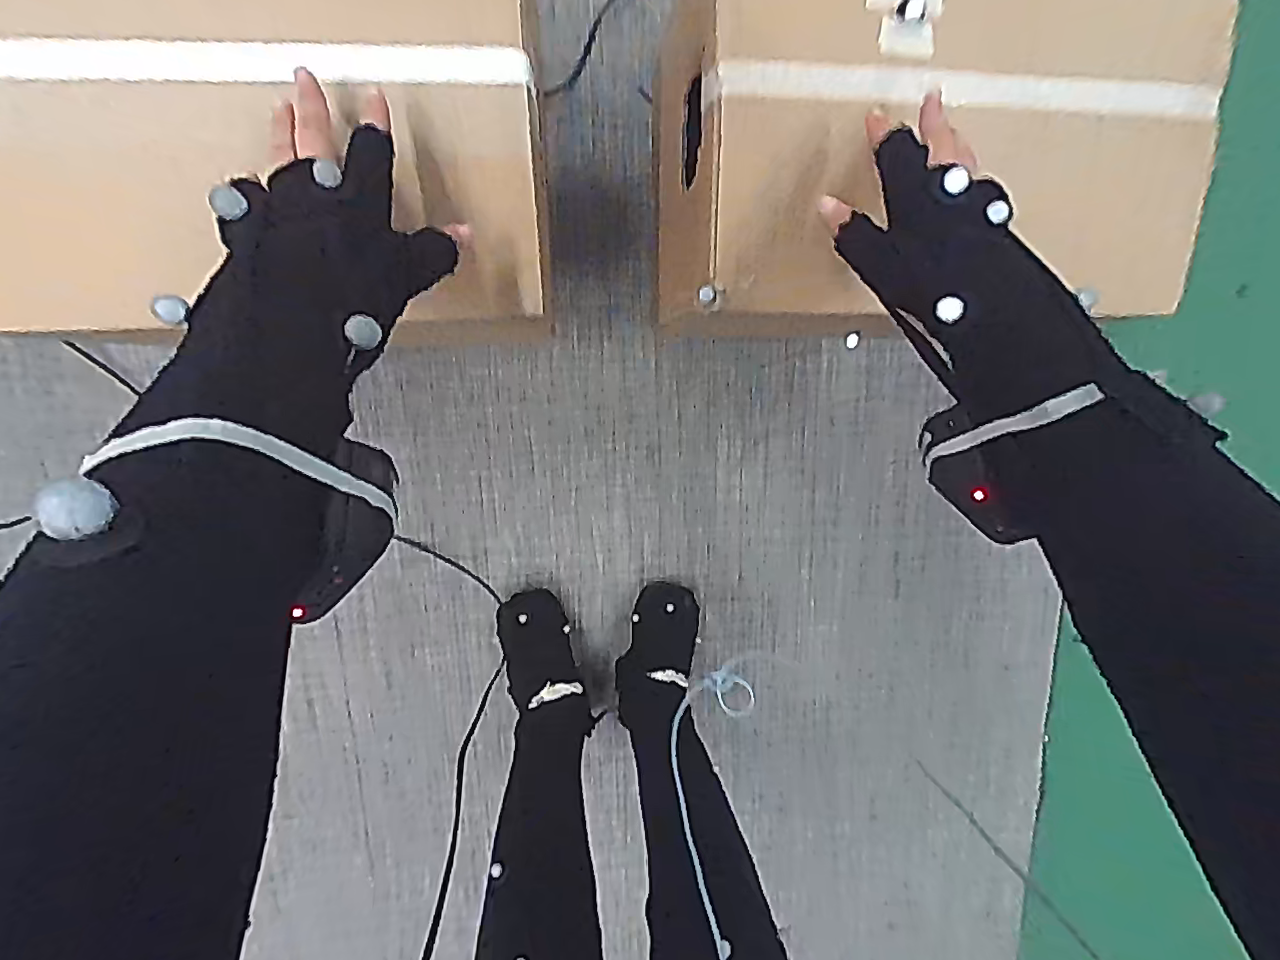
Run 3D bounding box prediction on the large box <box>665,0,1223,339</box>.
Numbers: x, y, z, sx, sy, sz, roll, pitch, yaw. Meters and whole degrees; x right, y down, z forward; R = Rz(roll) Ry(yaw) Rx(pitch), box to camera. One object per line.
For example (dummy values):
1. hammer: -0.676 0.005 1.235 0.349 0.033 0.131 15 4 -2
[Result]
1. large box: 0.248 -0.313 0.574 0.408 0.320 0.320 -1 101 -6
